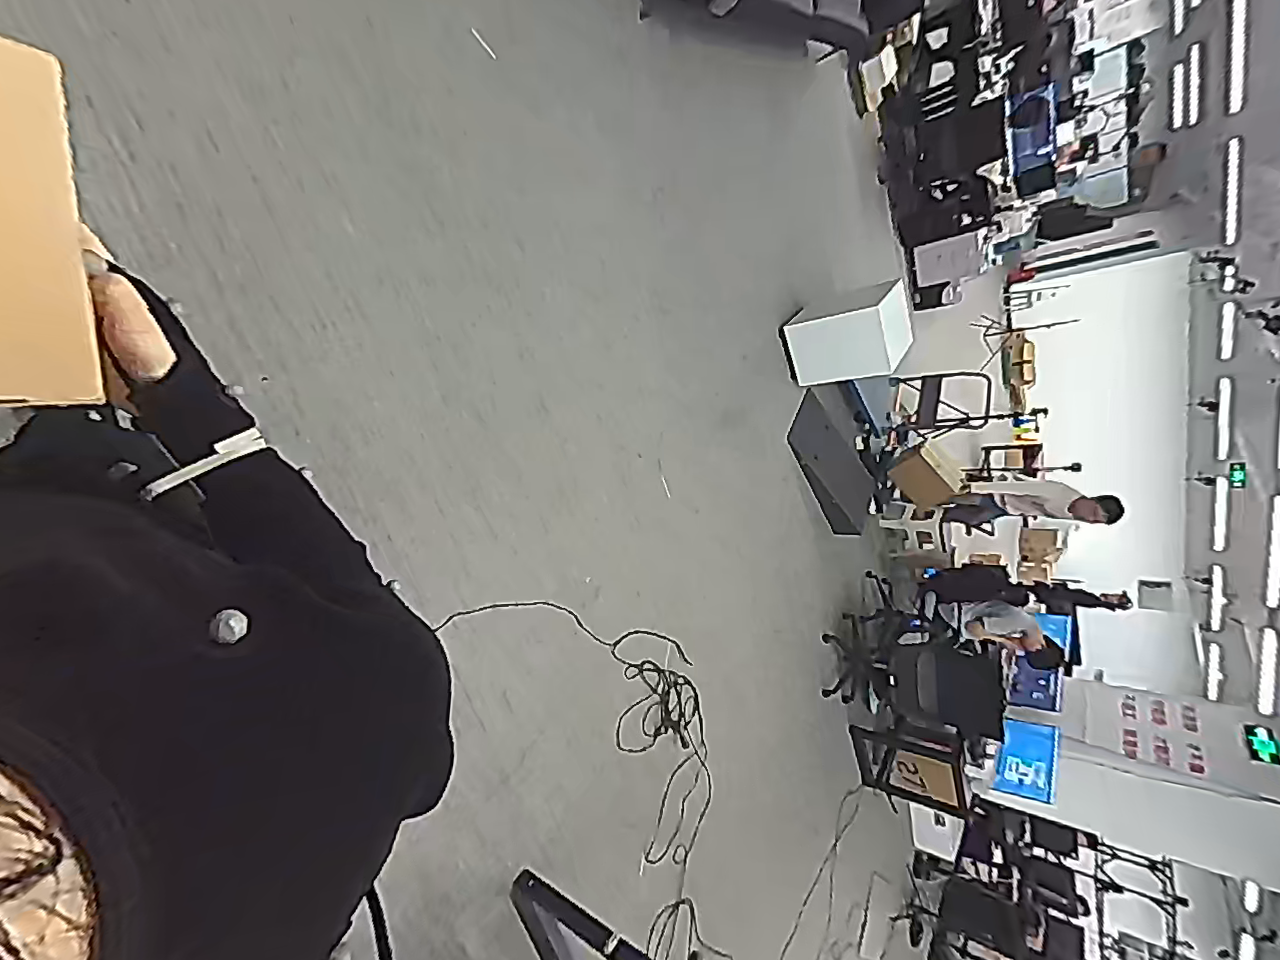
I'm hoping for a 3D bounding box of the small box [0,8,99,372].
[{"bbox_3d":[-0.417,-0.149,0.264,0.168,0.176,0.179,-18,116,-58],"label":"small box"}]
